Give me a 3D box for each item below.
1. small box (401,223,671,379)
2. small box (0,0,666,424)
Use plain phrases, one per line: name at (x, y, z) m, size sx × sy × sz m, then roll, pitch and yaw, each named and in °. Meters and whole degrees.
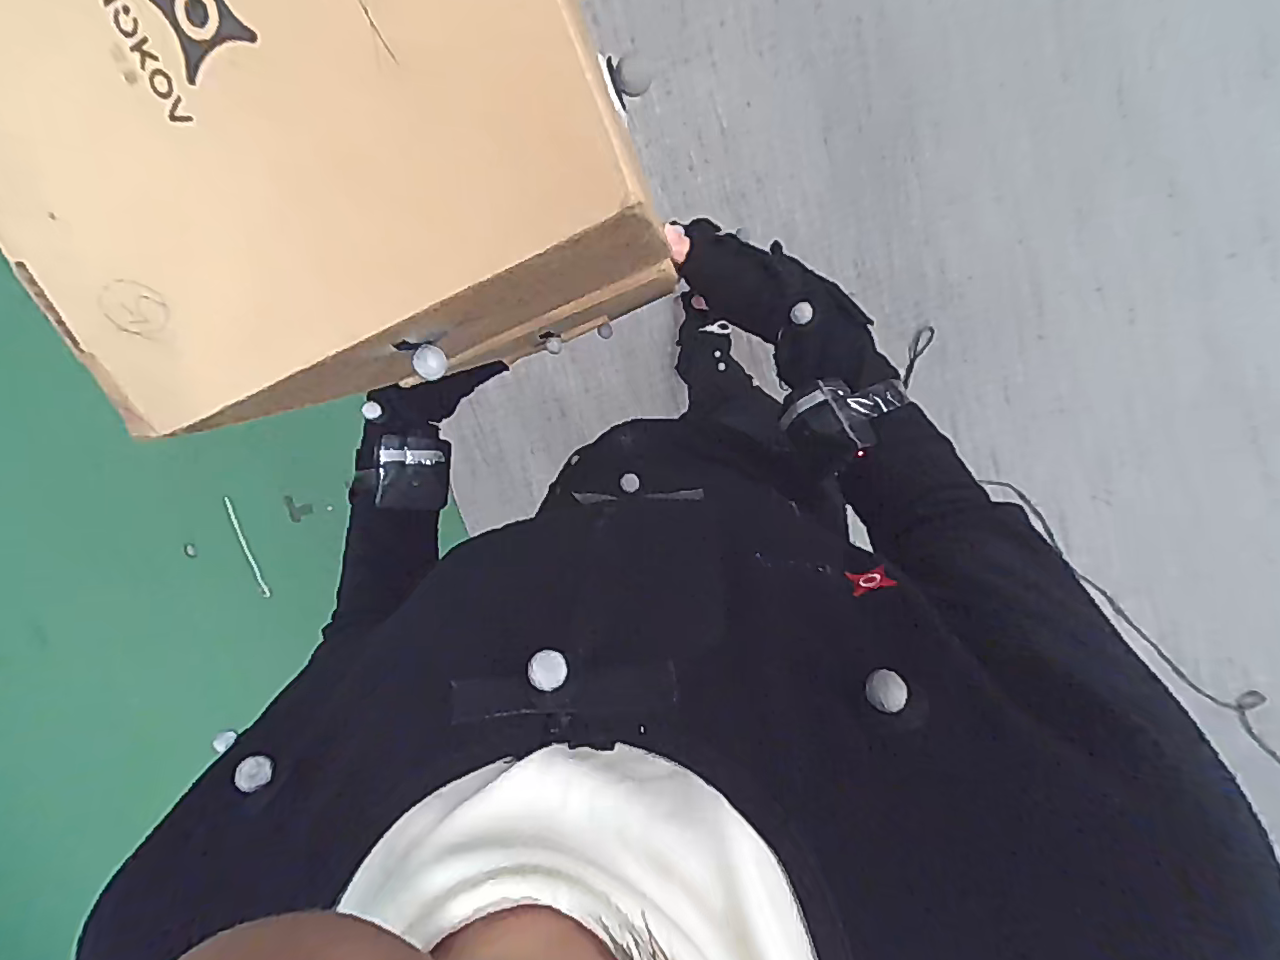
small box at (-0.084, -0.186, 0.368) m, size 0.179 × 0.176 × 0.168 m, roll -19°, pitch 105°, yaw 14°
small box at (-0.100, -0.142, 0.214) m, size 0.179 × 0.176 × 0.168 m, roll -21°, pitch 106°, yaw 12°
